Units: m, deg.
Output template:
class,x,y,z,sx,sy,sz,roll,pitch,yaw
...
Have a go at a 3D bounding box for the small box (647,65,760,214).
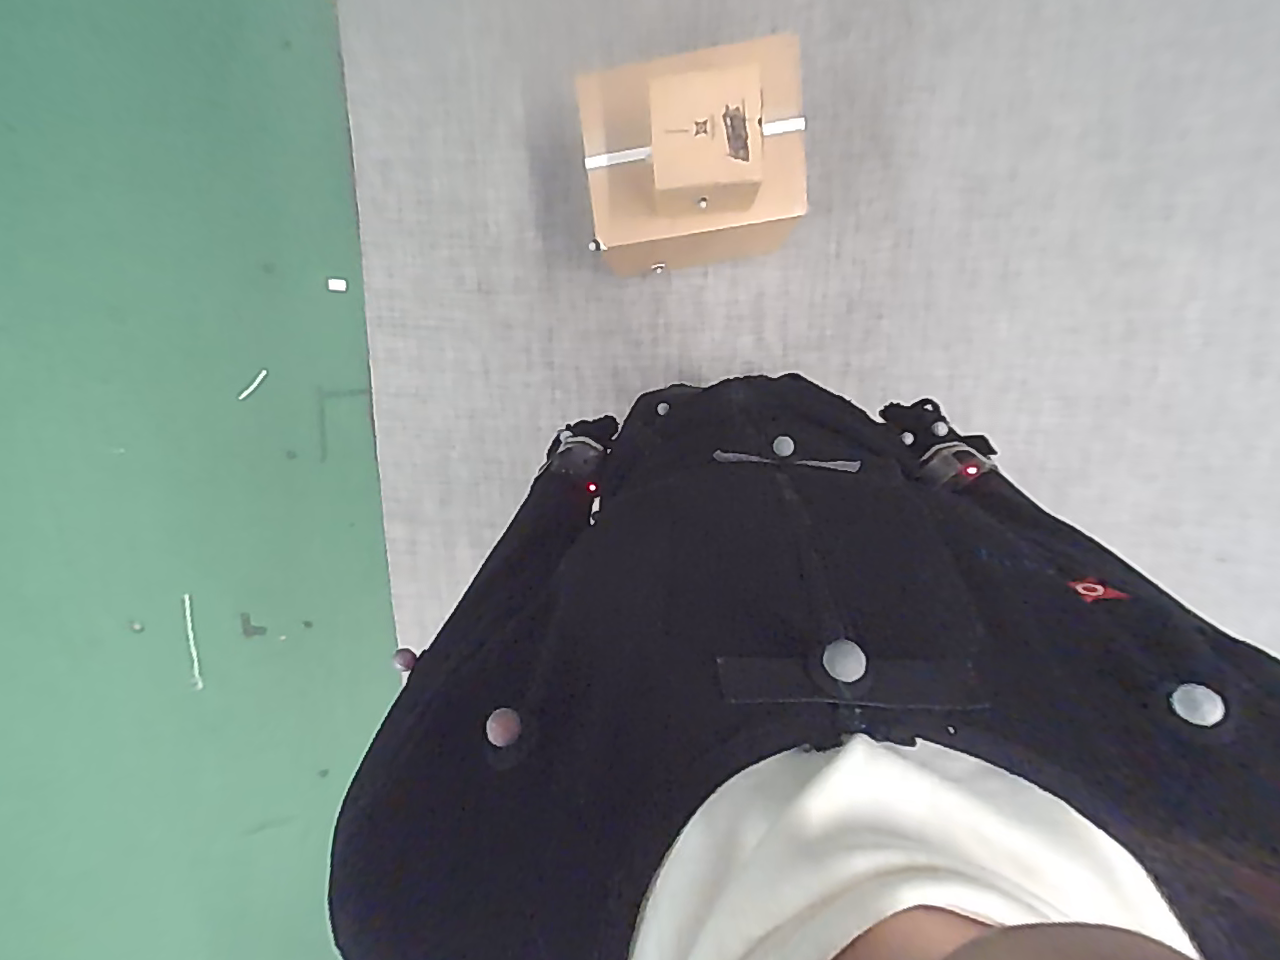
class,x,y,z,sx,sy,sz,roll,pitch,yaw
small box,0.108,-0.574,0.934,0.179,0.176,0.168,-2,101,7
